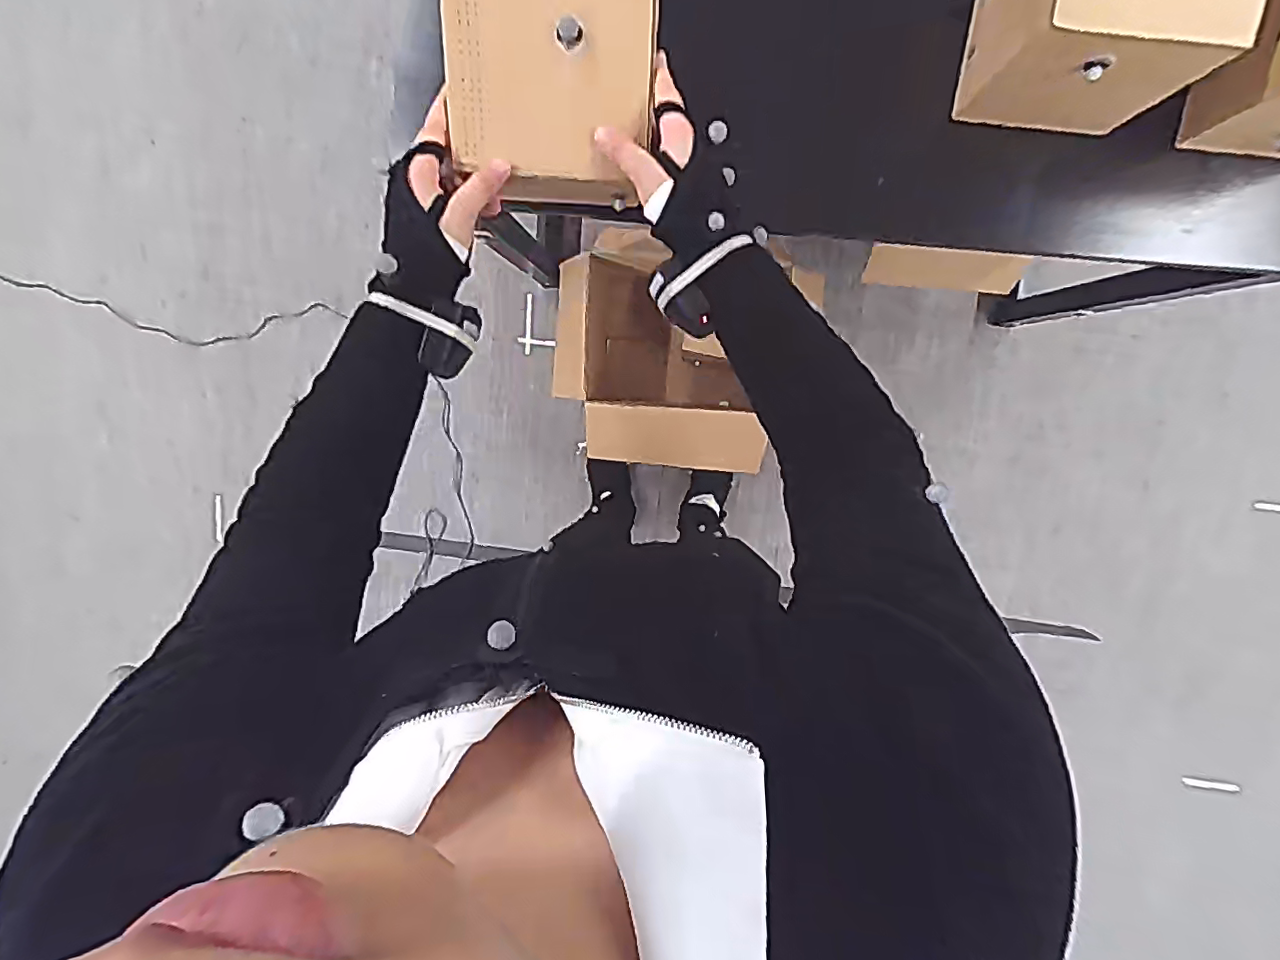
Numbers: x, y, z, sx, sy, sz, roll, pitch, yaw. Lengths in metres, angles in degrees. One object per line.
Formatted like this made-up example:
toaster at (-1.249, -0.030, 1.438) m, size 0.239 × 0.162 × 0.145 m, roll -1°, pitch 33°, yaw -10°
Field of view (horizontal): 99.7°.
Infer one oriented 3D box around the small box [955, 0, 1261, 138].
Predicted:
small box at (0.452, -0.468, 0.536) m, size 0.179 × 0.176 × 0.168 m, roll 8°, pitch 100°, yaw 1°

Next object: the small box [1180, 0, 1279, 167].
small box at (0.695, -0.436, 0.525) m, size 0.168 × 0.176 × 0.179 m, roll 8°, pitch 100°, yaw 3°
